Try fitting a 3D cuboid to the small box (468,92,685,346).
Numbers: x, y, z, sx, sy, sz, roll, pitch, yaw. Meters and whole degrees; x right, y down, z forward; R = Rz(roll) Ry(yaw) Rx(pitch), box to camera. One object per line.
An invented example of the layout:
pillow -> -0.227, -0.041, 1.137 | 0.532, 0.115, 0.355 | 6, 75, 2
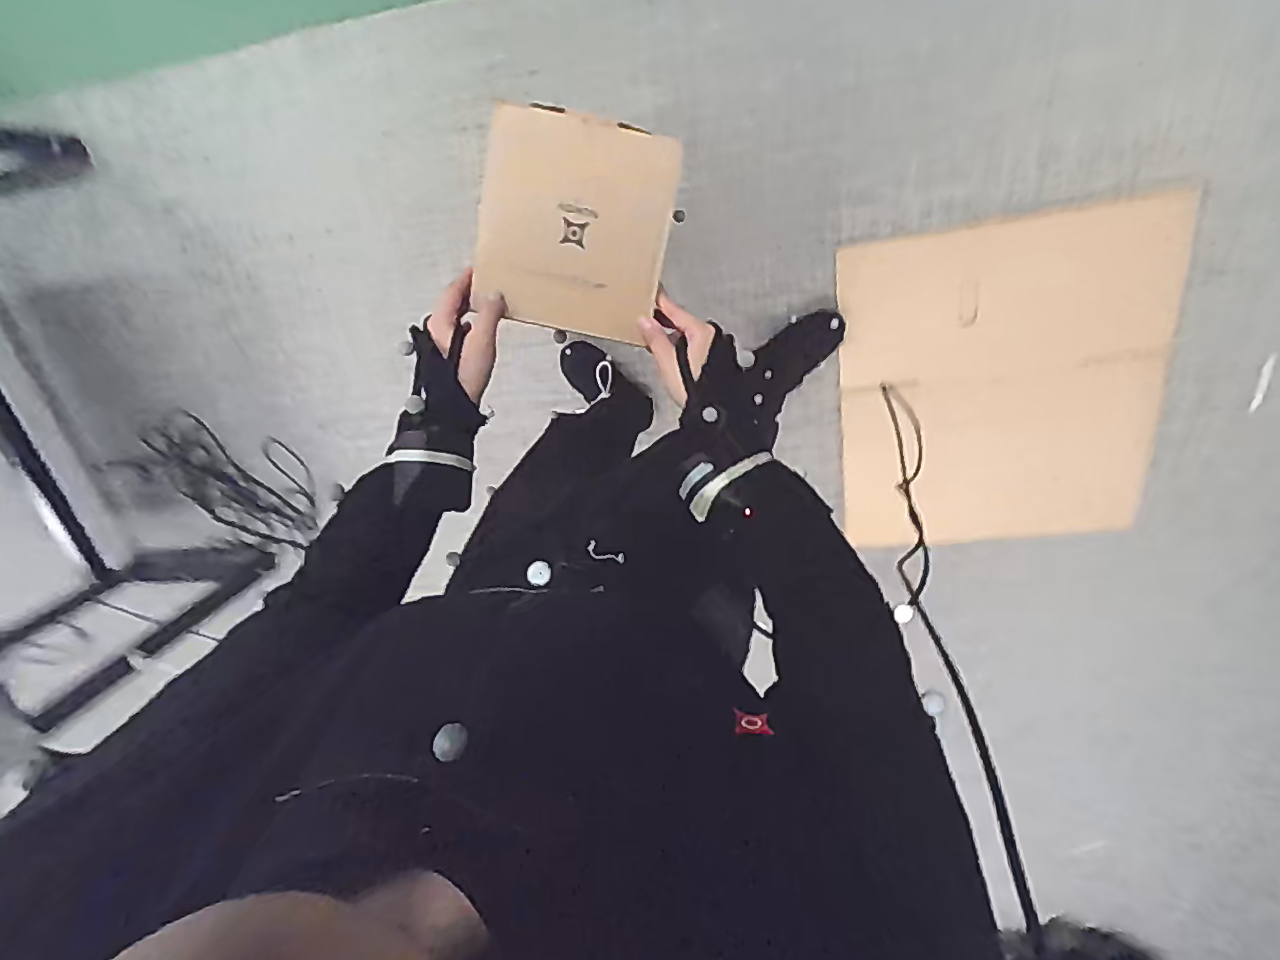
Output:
small box -> -0.060, -0.241, 0.541 | 0.168, 0.176, 0.179 | 10, 107, -4
